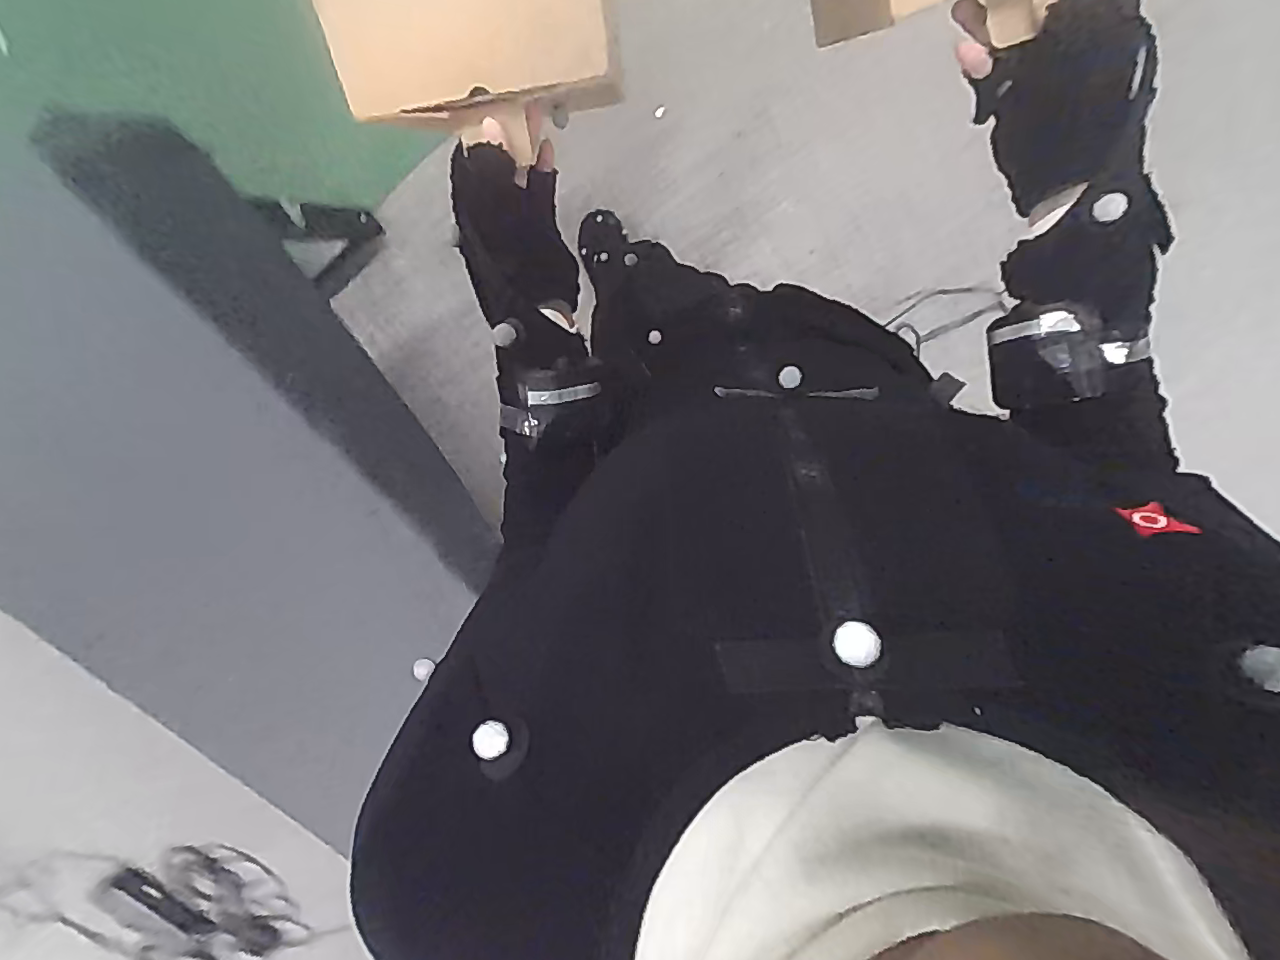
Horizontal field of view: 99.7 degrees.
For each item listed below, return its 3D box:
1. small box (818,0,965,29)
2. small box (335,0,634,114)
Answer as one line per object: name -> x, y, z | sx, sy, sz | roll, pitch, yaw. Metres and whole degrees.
small box -> 0.202, -0.404, 0.323 | 0.168, 0.176, 0.179 | -16, 124, 9
small box -> -0.096, -0.356, 0.356 | 0.168, 0.176, 0.179 | -5, 120, 5
